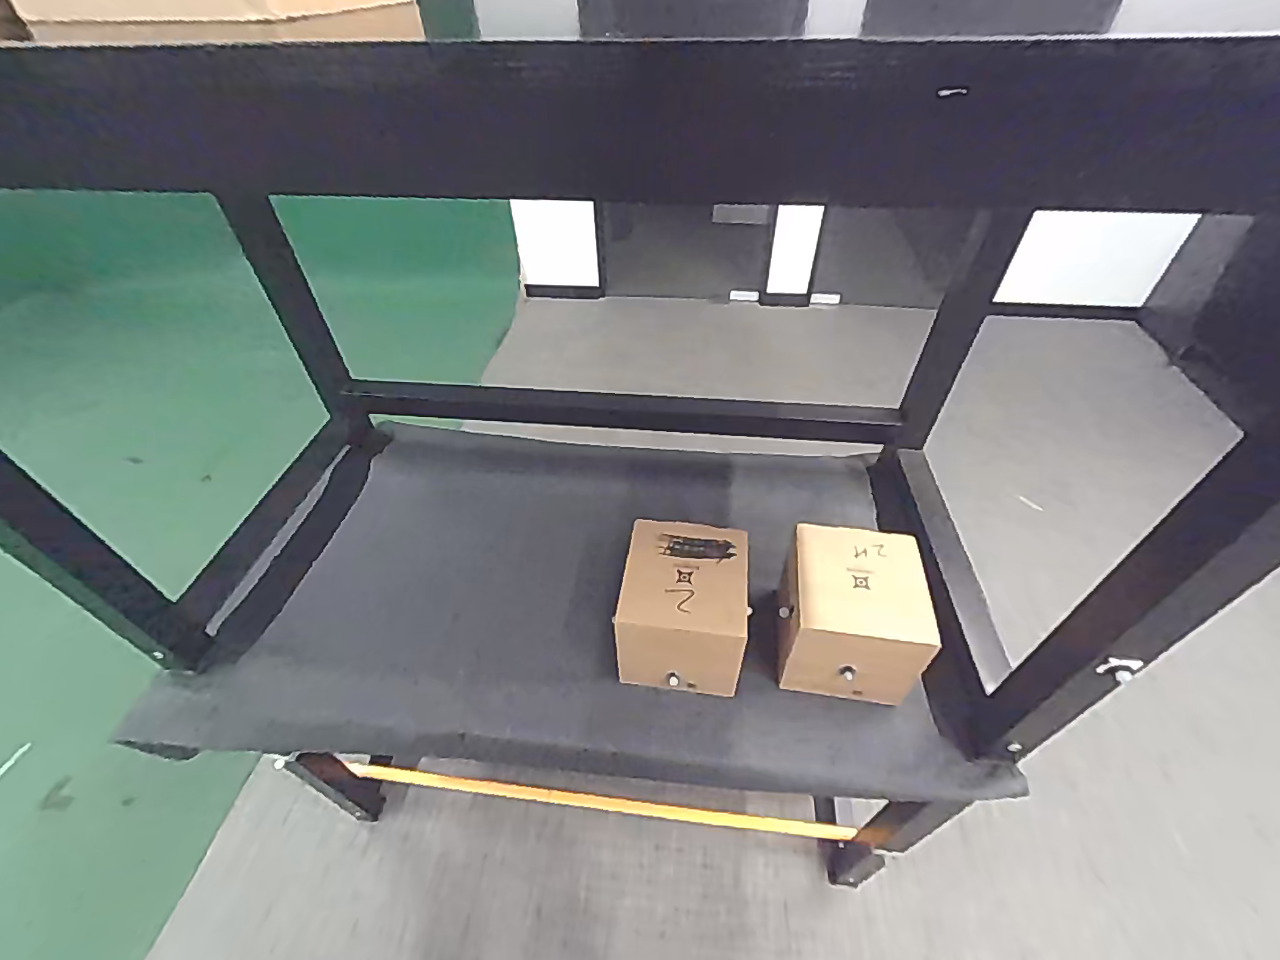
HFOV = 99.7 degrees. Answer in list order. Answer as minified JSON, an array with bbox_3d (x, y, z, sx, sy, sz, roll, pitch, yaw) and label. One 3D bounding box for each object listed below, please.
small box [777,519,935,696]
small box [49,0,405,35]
[{"bbox_3d":[0.292,0.183,0.770,0.168,0.176,0.179,7,45,8],"label":"small box"},{"bbox_3d":[-0.266,-0.373,0.313,0.168,0.176,0.179,6,45,7],"label":"small box"}]
